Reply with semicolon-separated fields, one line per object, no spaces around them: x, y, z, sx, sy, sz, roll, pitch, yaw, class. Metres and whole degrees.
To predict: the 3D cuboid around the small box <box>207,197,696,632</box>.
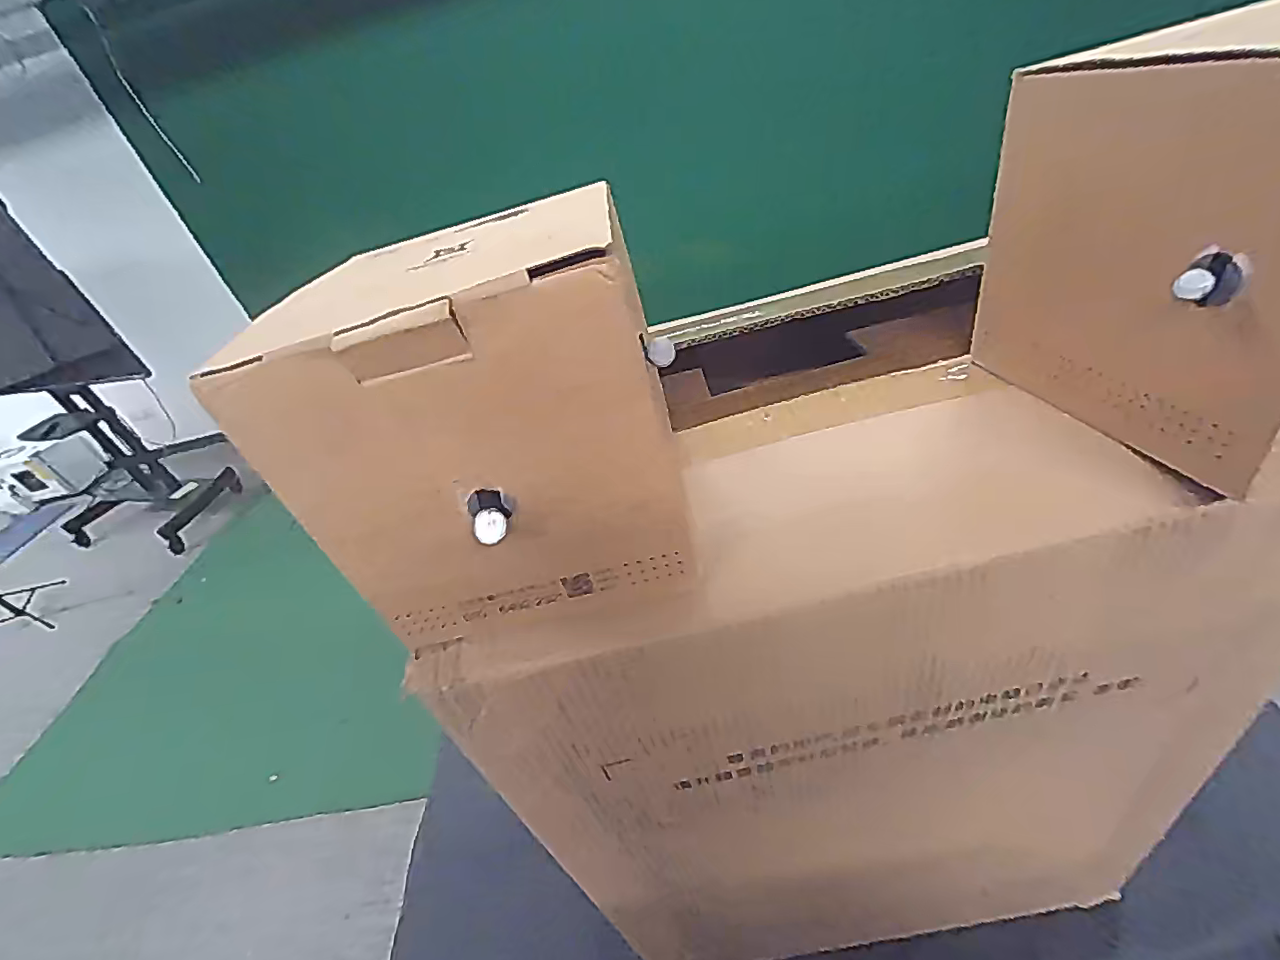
-0.071;-0.034;0.308;0.168;0.176;0.179;-14;36;4;small box

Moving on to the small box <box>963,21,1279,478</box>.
0.303;-0.117;0.274;0.168;0.176;0.179;-16;35;-4;small box
